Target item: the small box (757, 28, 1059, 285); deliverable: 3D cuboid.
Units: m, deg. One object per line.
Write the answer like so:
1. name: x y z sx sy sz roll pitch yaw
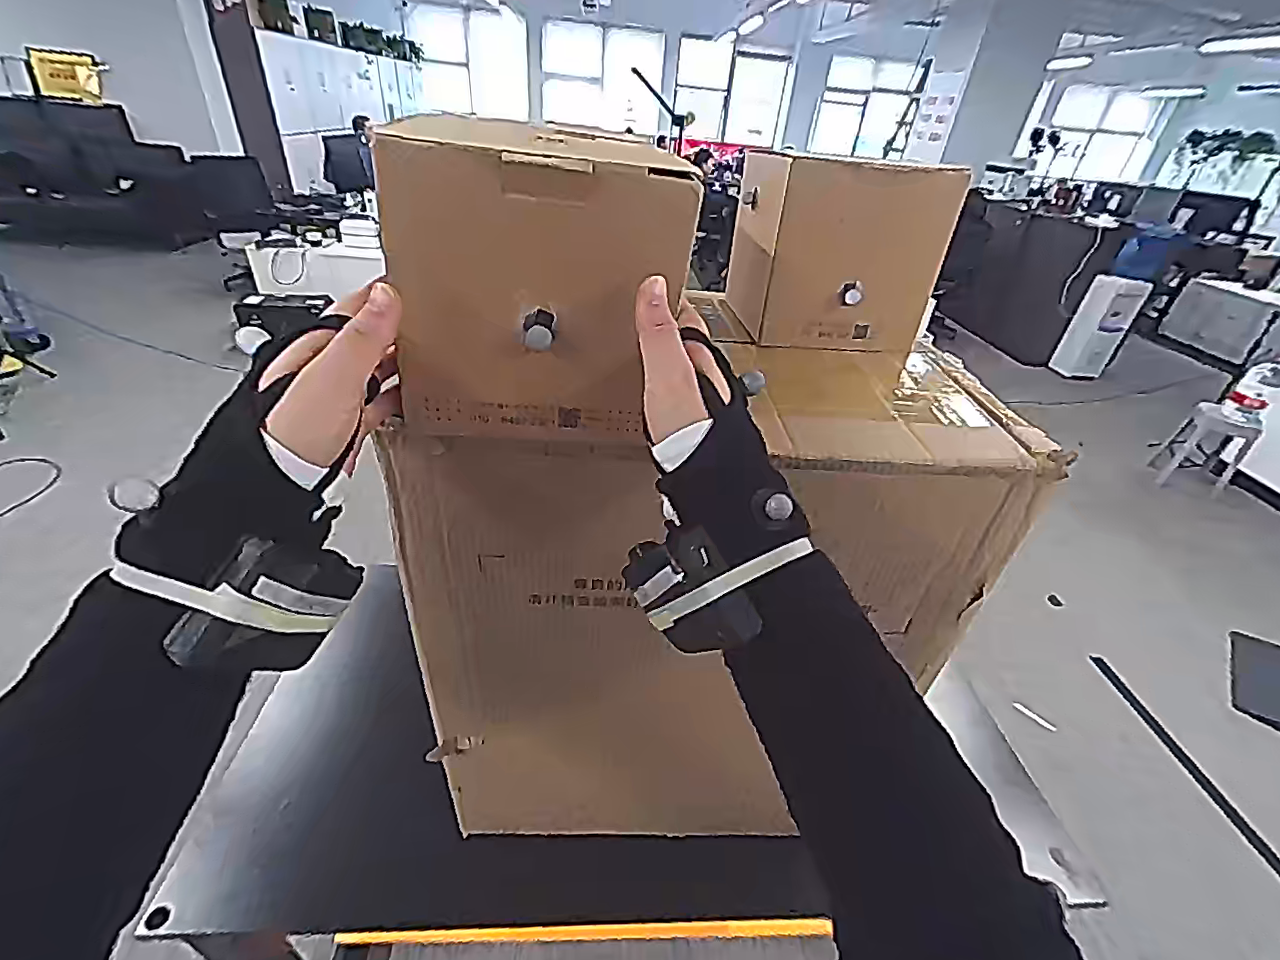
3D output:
1. small box: 0.218 -0.292 0.504 0.168 0.176 0.179 1 33 -5

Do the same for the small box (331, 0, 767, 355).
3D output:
1. small box: -0.046 -0.181 0.301 0.168 0.176 0.179 2 37 -11
